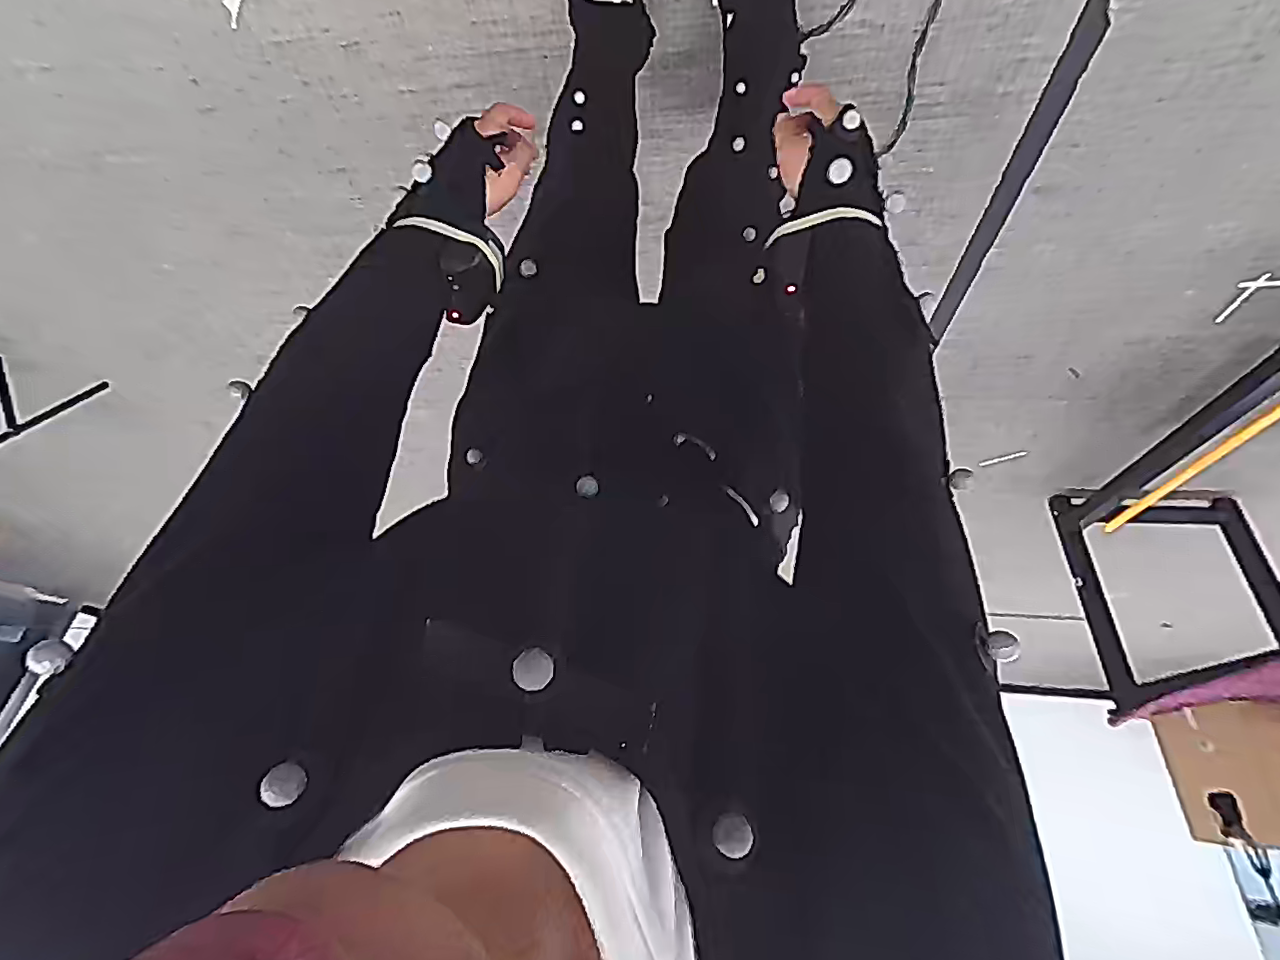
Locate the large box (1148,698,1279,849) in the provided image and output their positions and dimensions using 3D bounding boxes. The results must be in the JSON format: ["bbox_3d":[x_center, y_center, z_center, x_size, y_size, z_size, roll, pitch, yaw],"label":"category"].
[{"bbox_3d":[1.635,0.735,1.340,0.408,0.320,0.320,0,151,8],"label":"large box"}]
